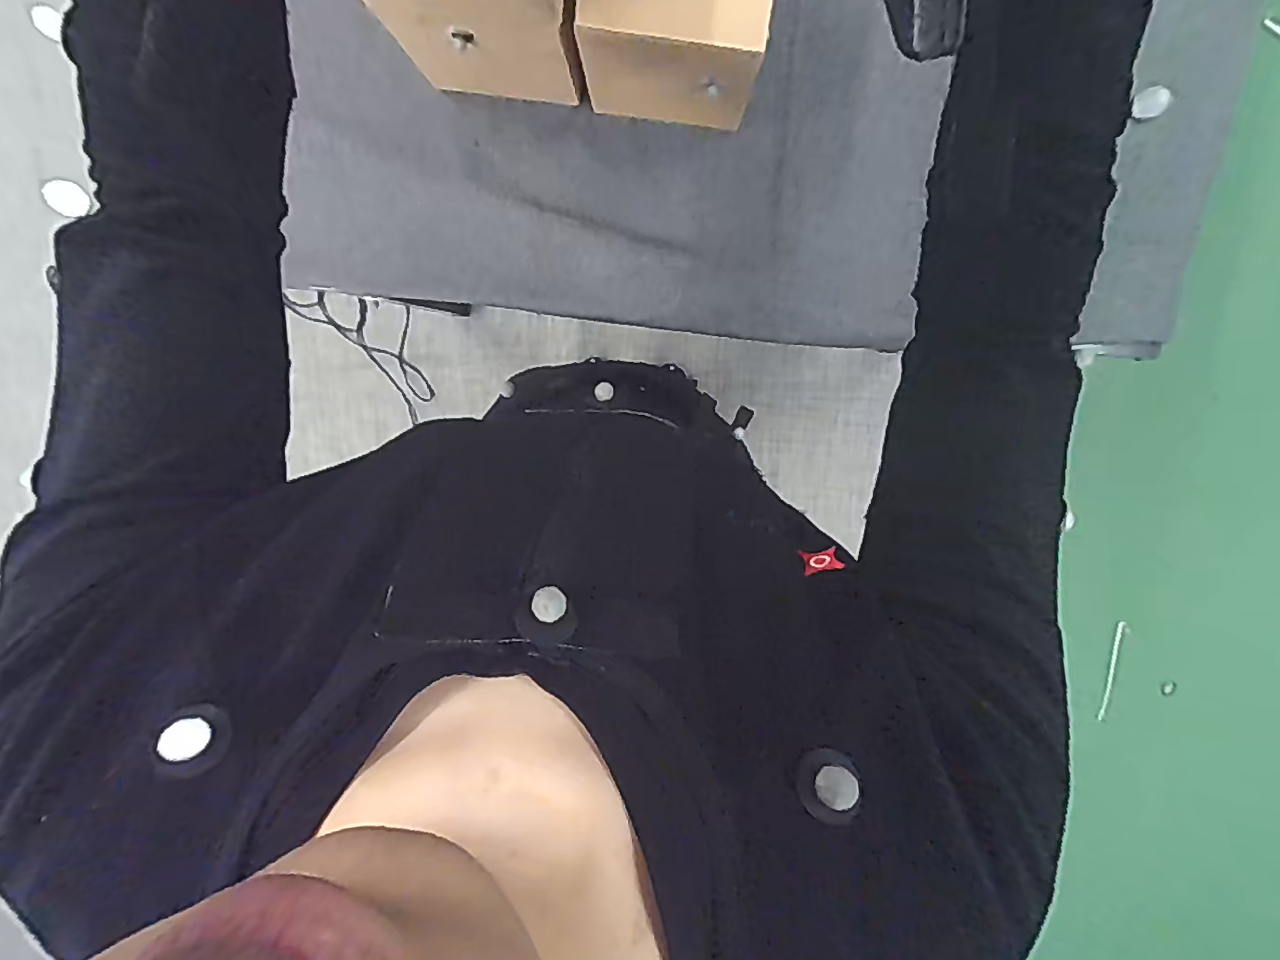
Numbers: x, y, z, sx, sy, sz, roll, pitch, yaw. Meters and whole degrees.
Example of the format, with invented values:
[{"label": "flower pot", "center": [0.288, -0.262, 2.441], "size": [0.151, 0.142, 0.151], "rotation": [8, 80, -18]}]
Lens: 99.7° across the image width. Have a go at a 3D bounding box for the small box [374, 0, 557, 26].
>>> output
[{"label": "small box", "center": [-0.147, -0.478, 0.395], "size": [0.179, 0.176, 0.168], "rotation": [5, 101, 0]}]
